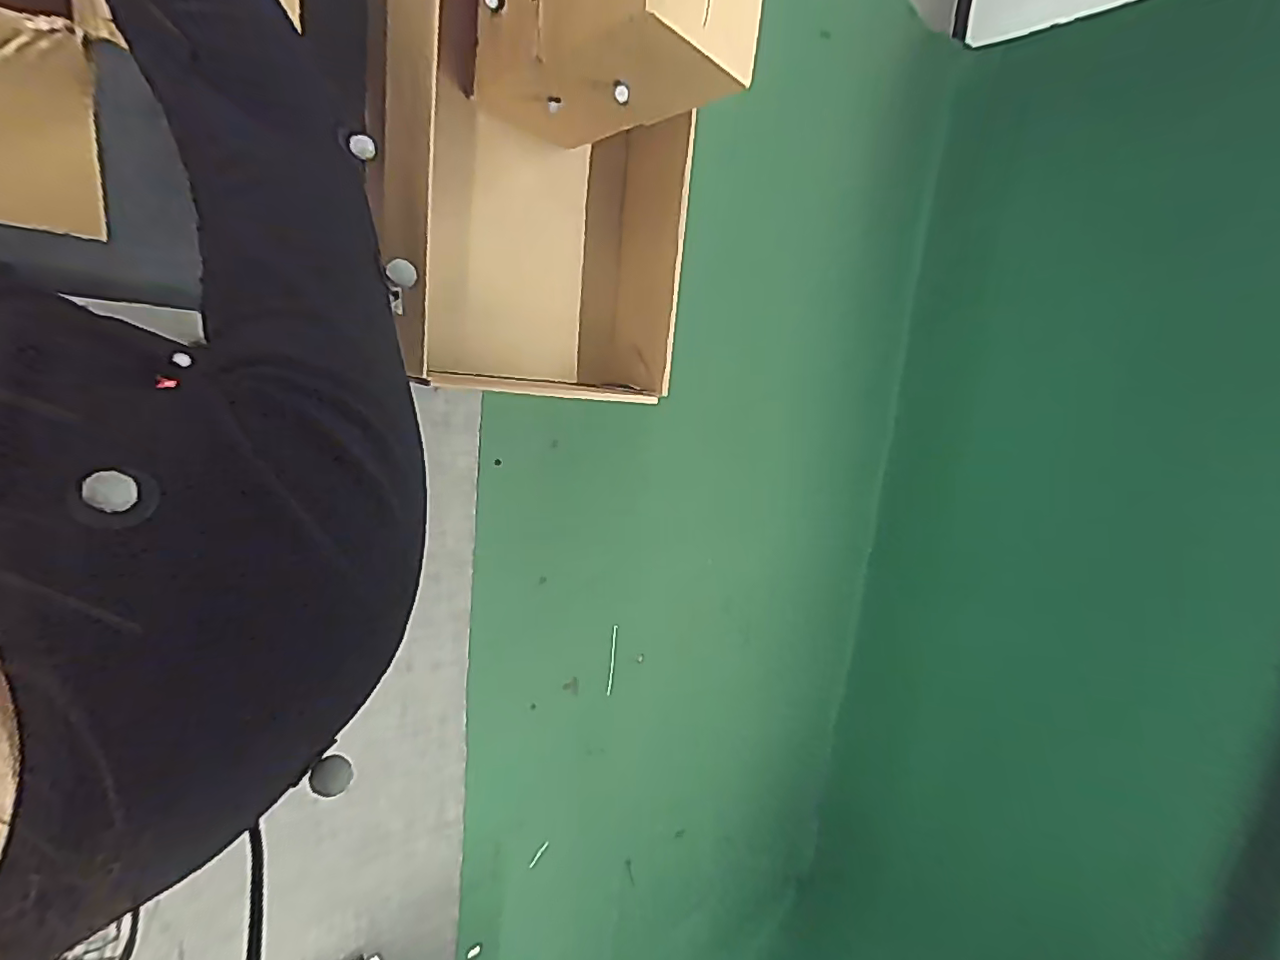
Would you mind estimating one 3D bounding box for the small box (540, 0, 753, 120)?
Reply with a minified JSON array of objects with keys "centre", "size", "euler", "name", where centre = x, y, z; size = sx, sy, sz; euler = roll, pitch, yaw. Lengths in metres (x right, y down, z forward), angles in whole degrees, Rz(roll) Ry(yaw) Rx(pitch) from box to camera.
[{"centre":[0.008,-0.533,0.587],"size":[0.168,0.176,0.179],"euler":[-4,106,-44],"name":"small box"}]
